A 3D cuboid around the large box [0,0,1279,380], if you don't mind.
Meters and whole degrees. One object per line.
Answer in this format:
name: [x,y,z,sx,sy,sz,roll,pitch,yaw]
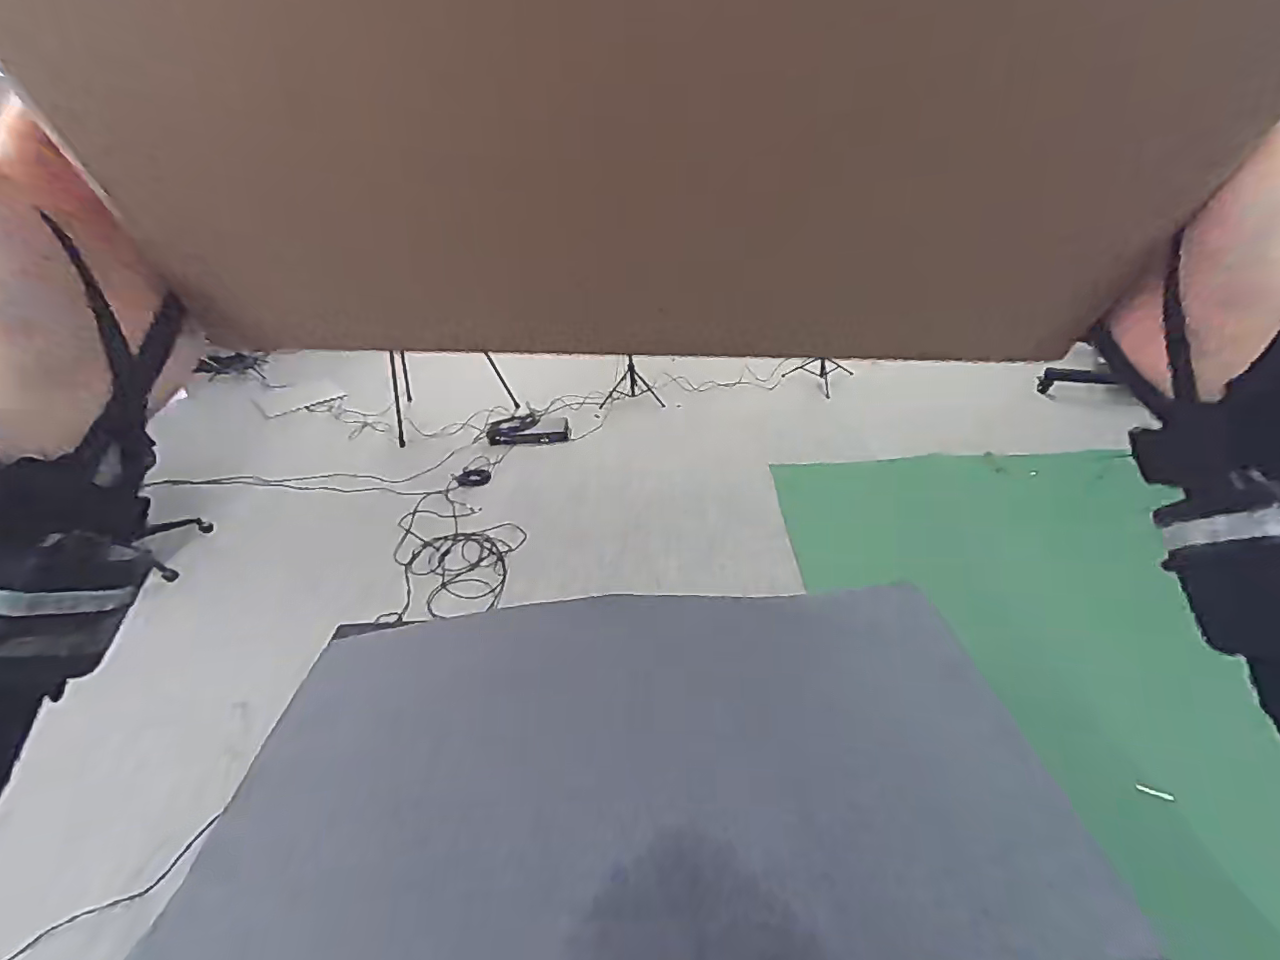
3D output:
large box: [0.002,-0.258,0.237,0.408,0.320,0.320,0,57,-3]
